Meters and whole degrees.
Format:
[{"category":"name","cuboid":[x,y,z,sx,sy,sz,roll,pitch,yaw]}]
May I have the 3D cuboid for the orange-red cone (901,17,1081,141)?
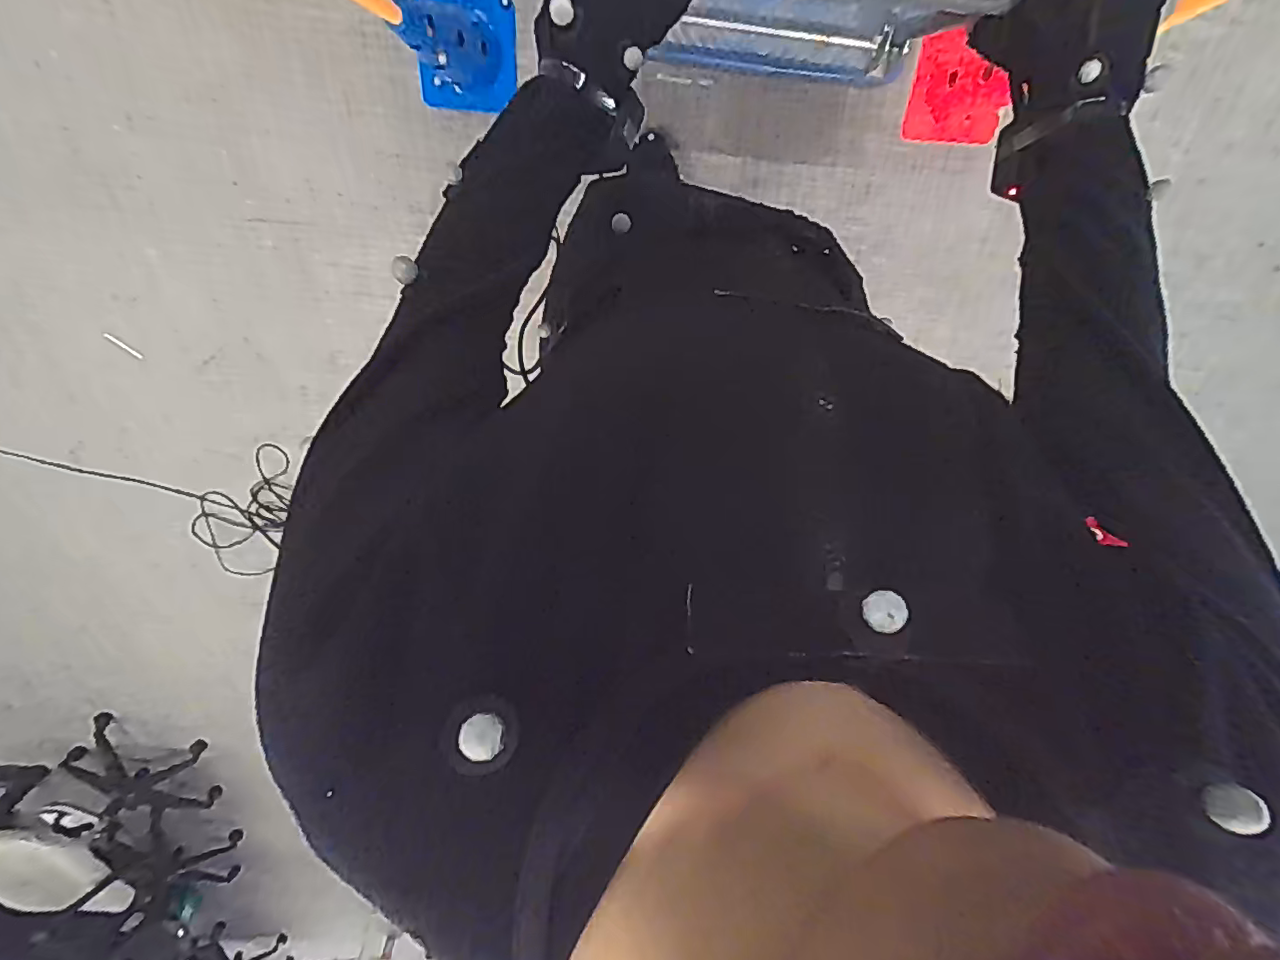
[{"category":"orange-red cone","cuboid":[0.649,-0.728,0.962,0.199,0.360,0.198,5,121,0]}]
